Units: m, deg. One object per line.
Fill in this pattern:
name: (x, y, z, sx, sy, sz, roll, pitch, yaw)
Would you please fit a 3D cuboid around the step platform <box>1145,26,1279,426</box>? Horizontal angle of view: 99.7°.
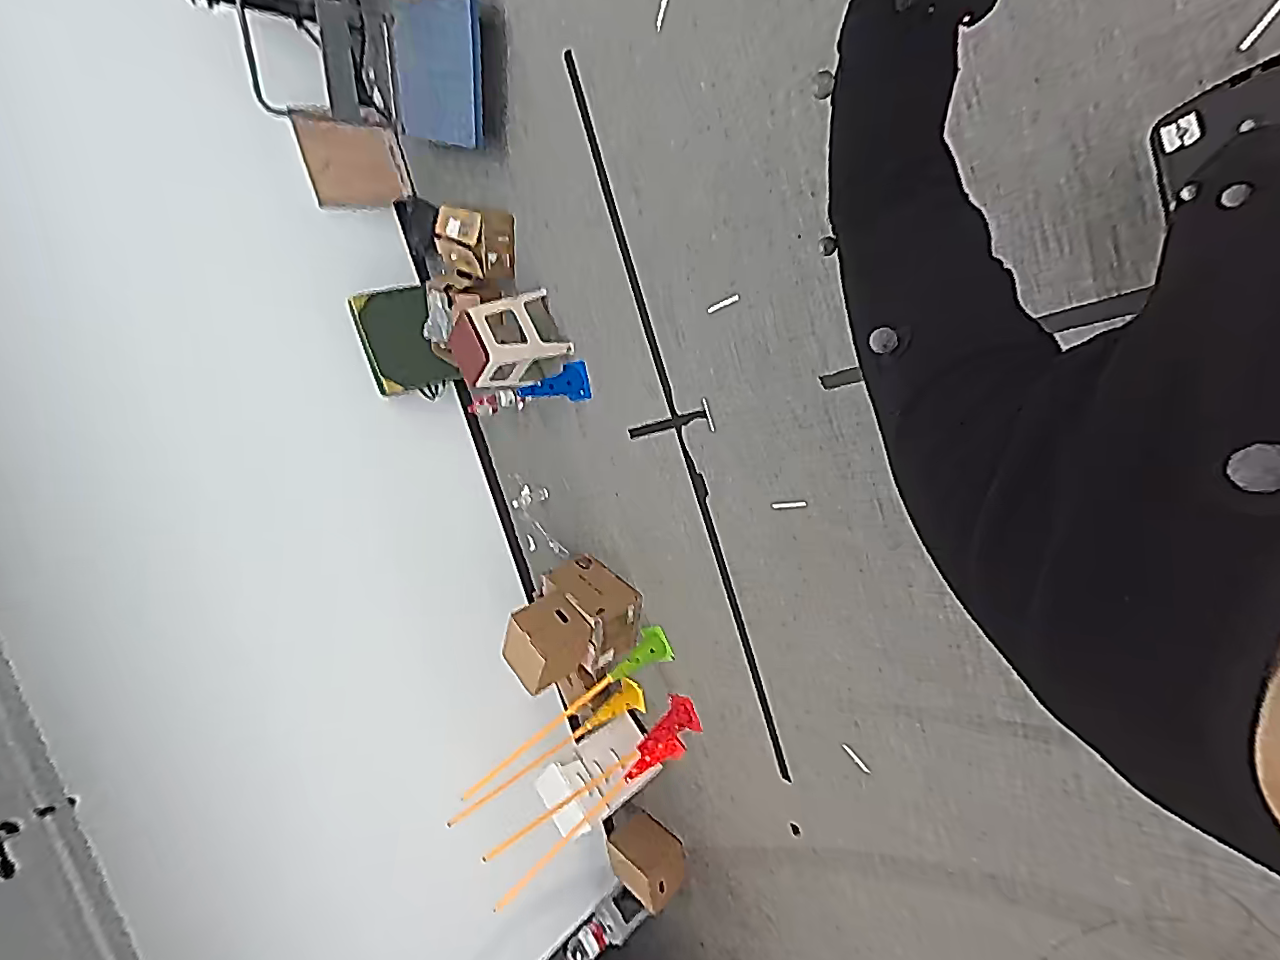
step platform: (1.174, -0.441, 0.980, 0.286, 0.204, 0.684, -12, 96, 51)
